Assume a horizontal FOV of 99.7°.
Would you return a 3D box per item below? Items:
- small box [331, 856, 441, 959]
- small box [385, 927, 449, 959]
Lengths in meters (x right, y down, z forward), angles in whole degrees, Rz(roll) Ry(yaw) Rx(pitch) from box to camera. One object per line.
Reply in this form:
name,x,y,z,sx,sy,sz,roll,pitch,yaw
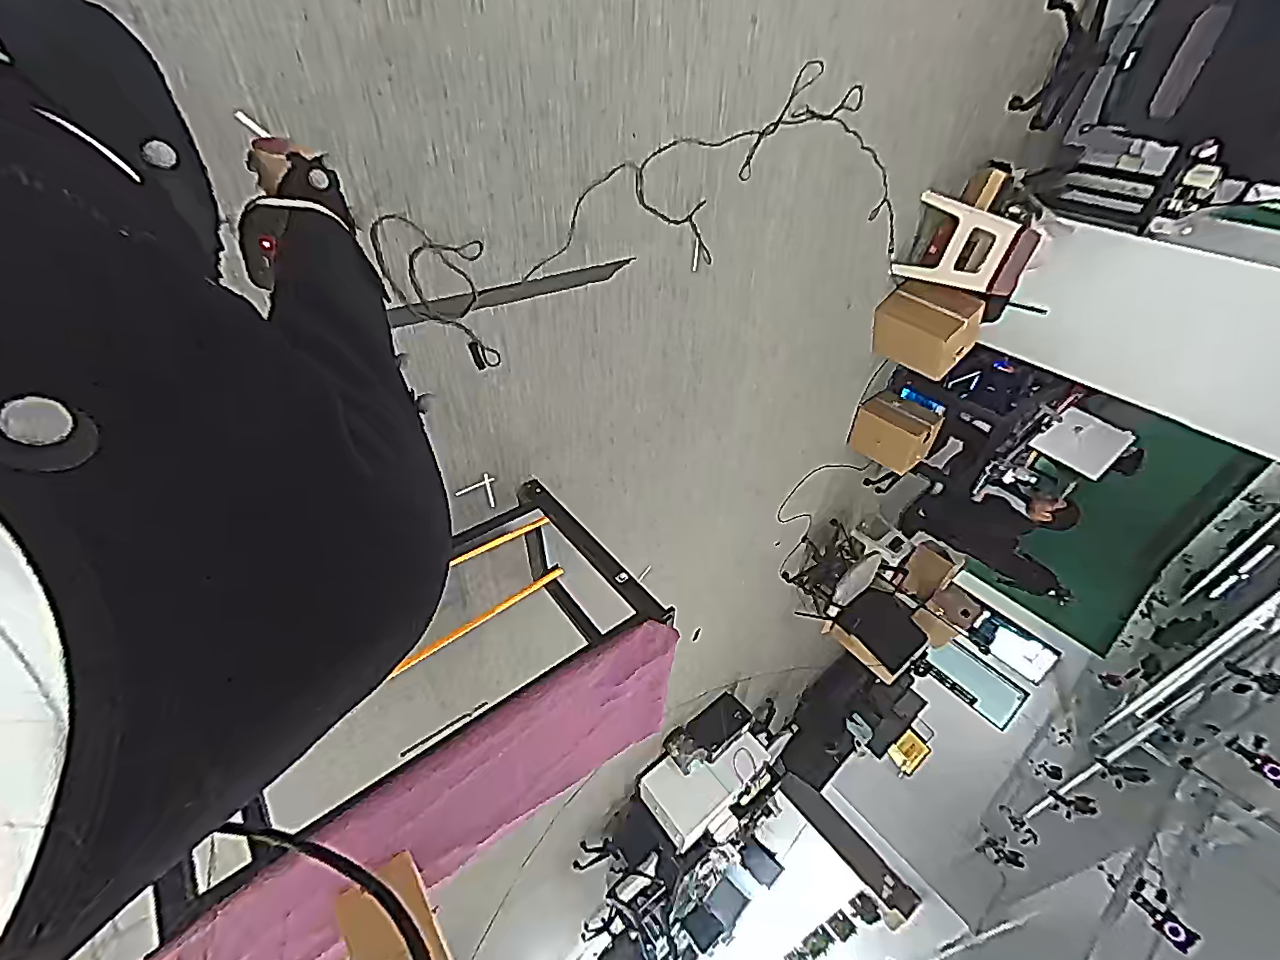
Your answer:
small box,-0.574,1.006,1.226,0.168,0.176,0.179,-24,136,-33
small box,-0.472,1.092,1.129,0.168,0.176,0.179,-25,137,-33
